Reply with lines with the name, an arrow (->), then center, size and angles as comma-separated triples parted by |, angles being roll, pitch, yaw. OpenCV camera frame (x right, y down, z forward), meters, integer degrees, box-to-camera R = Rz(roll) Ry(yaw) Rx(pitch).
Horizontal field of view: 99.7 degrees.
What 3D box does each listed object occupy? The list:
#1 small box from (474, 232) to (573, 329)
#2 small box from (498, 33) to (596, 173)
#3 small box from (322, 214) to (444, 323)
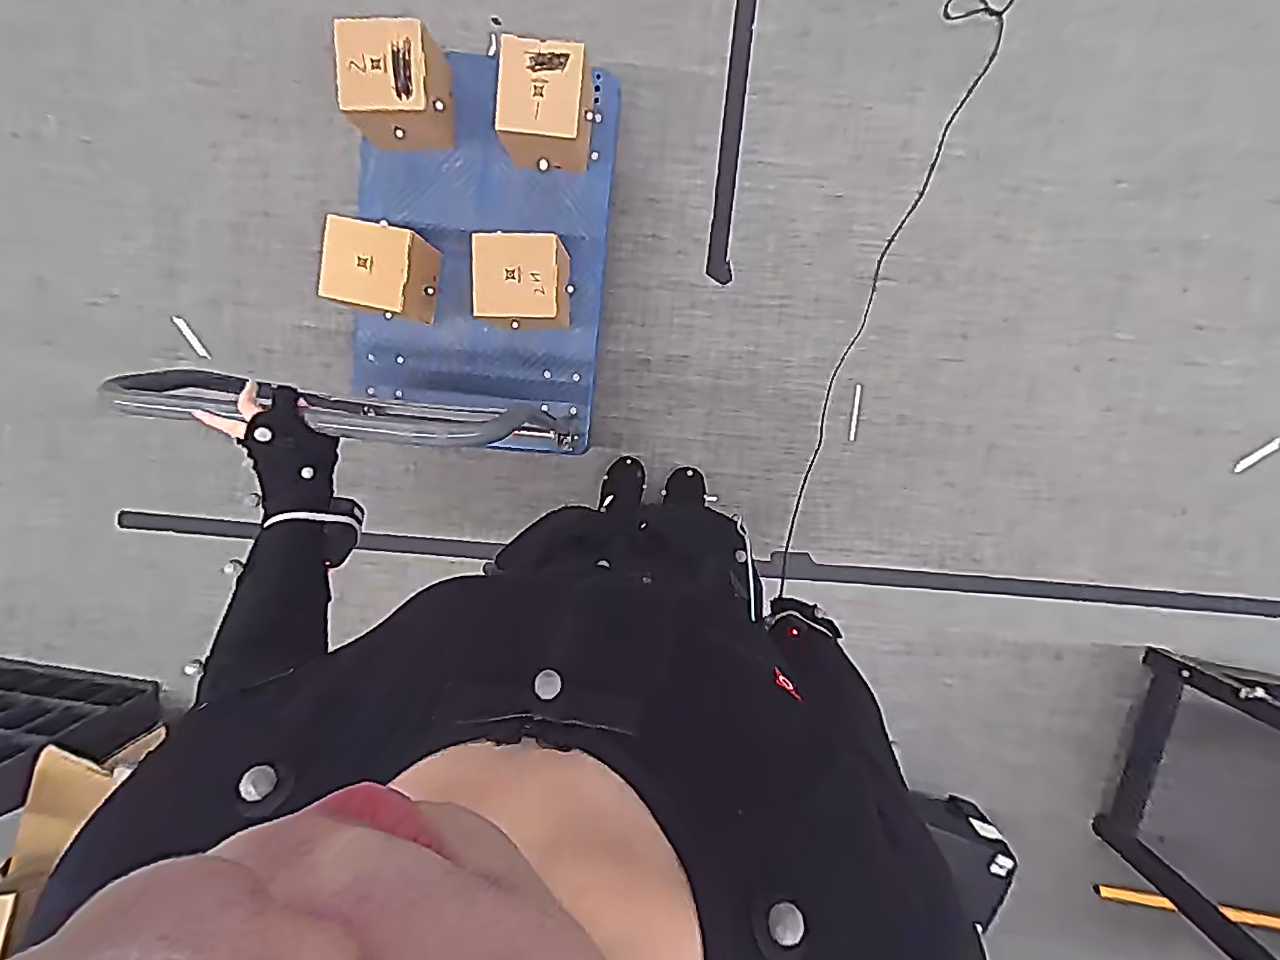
small box -> -0.247, -0.426, 1.176 | 0.179, 0.176, 0.168 | 2, 98, 1
small box -> -0.187, -0.777, 1.131 | 0.168, 0.176, 0.179 | 7, 98, 0
small box -> -0.554, -0.451, 1.181 | 0.179, 0.176, 0.168 | 11, 96, -2
